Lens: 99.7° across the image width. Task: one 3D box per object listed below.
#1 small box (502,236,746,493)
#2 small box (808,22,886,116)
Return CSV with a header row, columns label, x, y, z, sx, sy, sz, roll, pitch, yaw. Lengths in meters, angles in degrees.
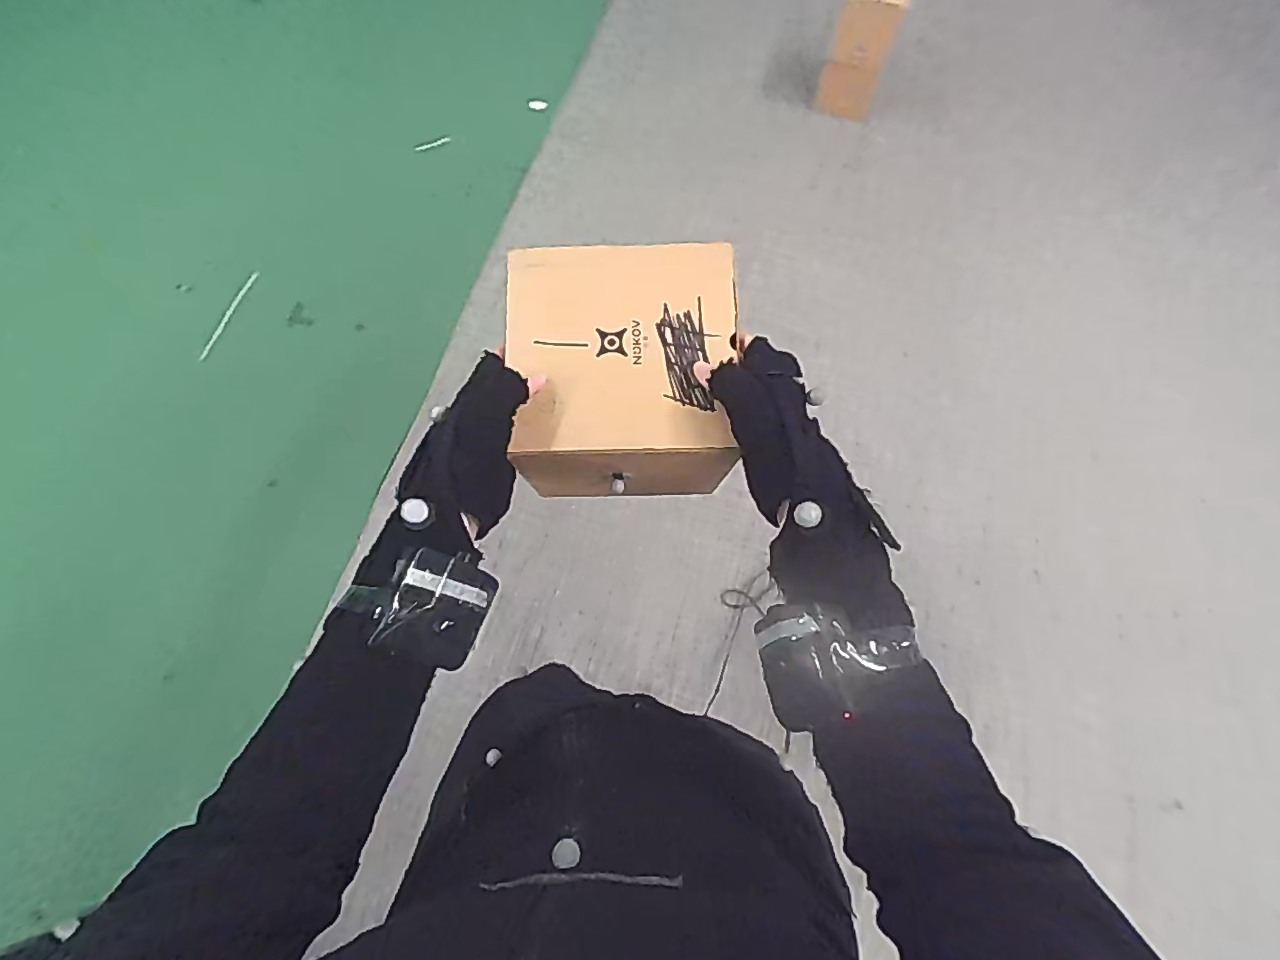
label,x,y,z,sx,sy,sz,roll,pitch,yaw
small box,-0.010,-0.087,0.480,0.179,0.176,0.168,2,76,0
small box,0.656,-1.304,1.723,0.179,0.176,0.168,14,72,7
